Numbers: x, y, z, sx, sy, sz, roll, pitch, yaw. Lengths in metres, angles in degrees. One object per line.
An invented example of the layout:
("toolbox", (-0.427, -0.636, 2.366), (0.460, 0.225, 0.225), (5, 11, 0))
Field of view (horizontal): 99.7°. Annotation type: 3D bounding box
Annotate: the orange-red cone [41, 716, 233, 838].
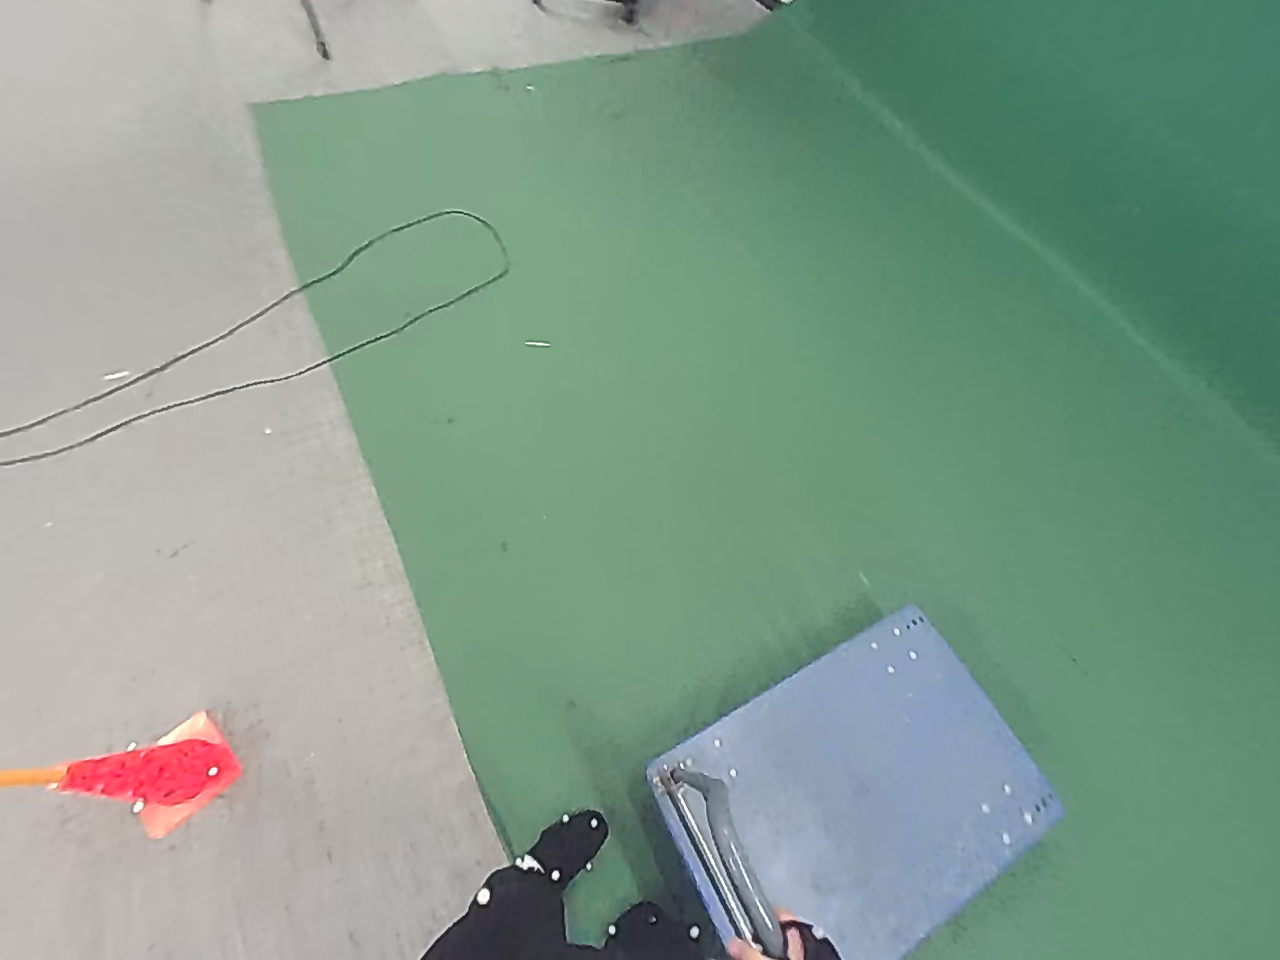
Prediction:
("orange-red cone", (-1.074, 0.611, 1.122), (0.198, 0.360, 0.199), (-37, 71, -23))
